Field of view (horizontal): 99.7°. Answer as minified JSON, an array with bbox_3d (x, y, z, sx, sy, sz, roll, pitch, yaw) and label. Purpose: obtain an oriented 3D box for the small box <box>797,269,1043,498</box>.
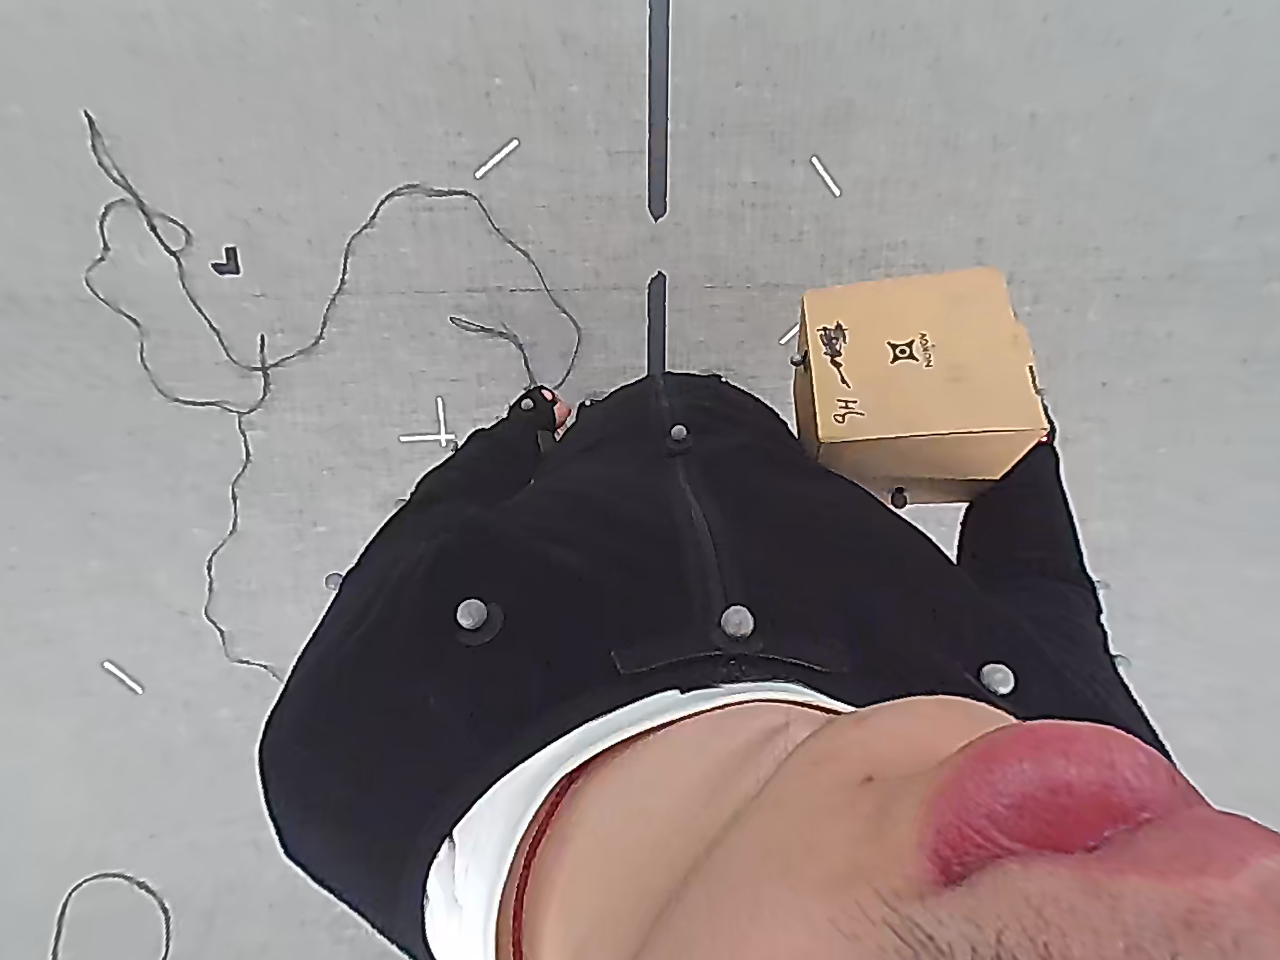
[{"bbox_3d":[0.263,-0.086,0.557,0.179,0.176,0.168,-2,67,11],"label":"small box"}]
